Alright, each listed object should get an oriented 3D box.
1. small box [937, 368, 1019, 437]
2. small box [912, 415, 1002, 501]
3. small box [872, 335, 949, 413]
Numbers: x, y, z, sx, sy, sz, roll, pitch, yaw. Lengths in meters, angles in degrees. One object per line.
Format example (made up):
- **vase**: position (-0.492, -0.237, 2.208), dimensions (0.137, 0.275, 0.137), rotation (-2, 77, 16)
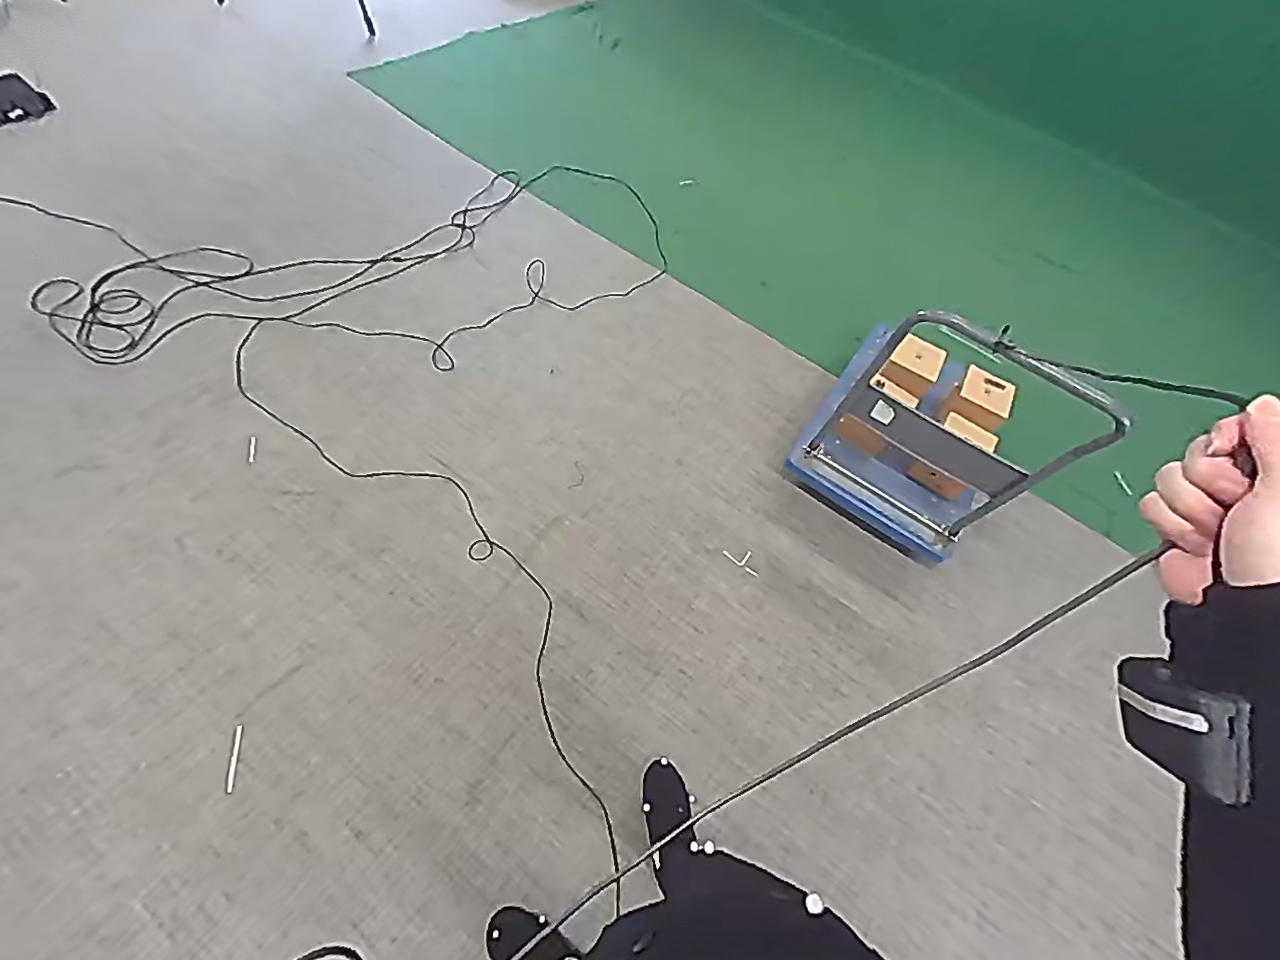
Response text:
- **small box**: position (1.166, -0.246, 1.874), dimensions (0.168, 0.176, 0.179), rotation (30, 60, 10)
- **small box**: position (1.013, -0.068, 1.740), dimensions (0.168, 0.176, 0.179), rotation (35, 60, 12)
- **small box**: position (0.952, -0.370, 1.916), dimensions (0.168, 0.176, 0.179), rotation (31, 59, 9)
